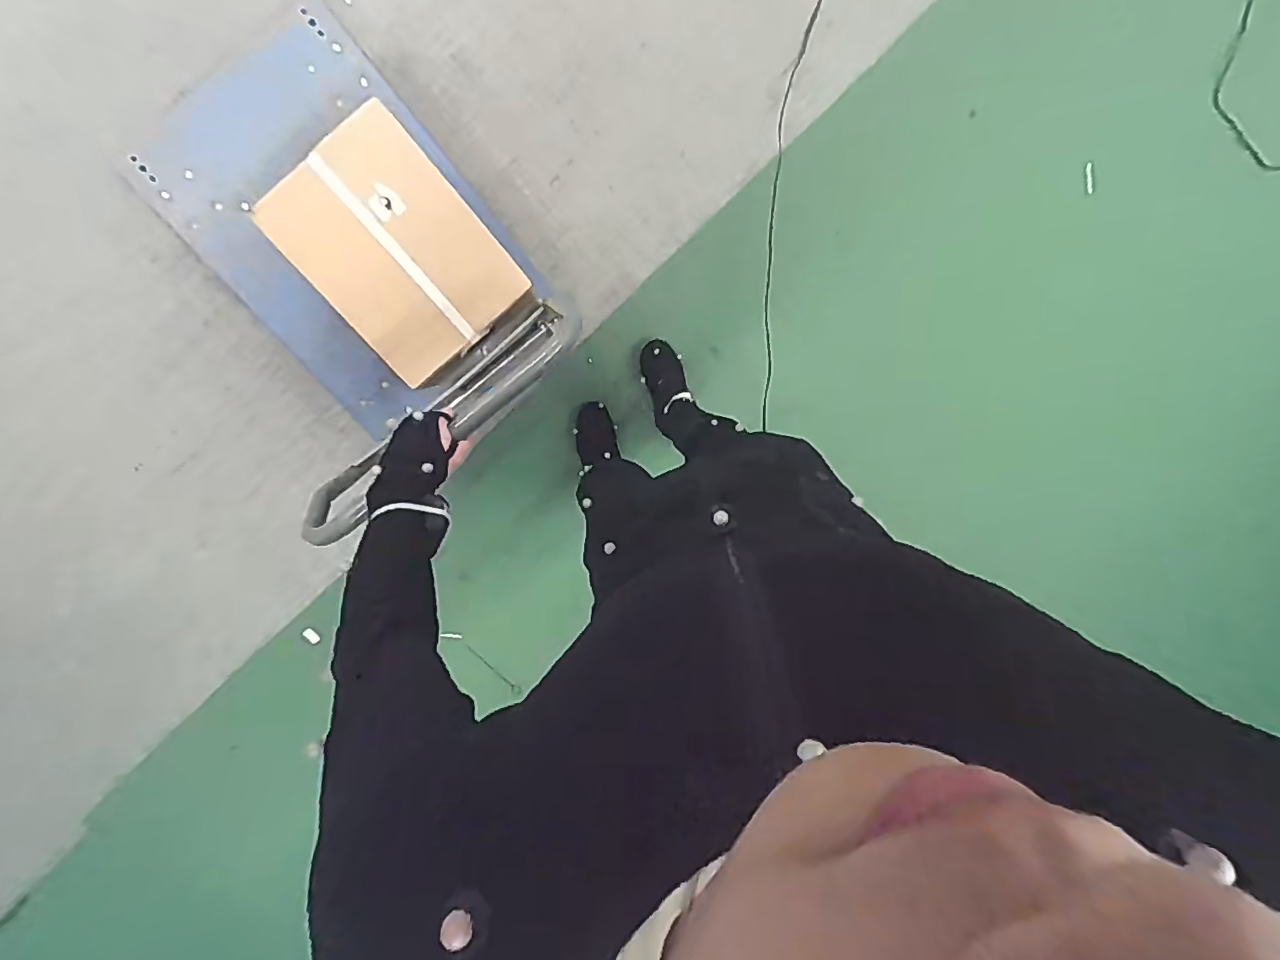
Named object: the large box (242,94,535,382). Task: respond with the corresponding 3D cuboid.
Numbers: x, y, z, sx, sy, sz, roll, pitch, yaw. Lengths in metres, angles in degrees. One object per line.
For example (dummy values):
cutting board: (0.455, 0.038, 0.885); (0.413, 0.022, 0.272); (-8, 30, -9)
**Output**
large box: (-0.472, -0.457, 1.125); (0.320, 0.320, 0.408); (-41, 105, 2)
